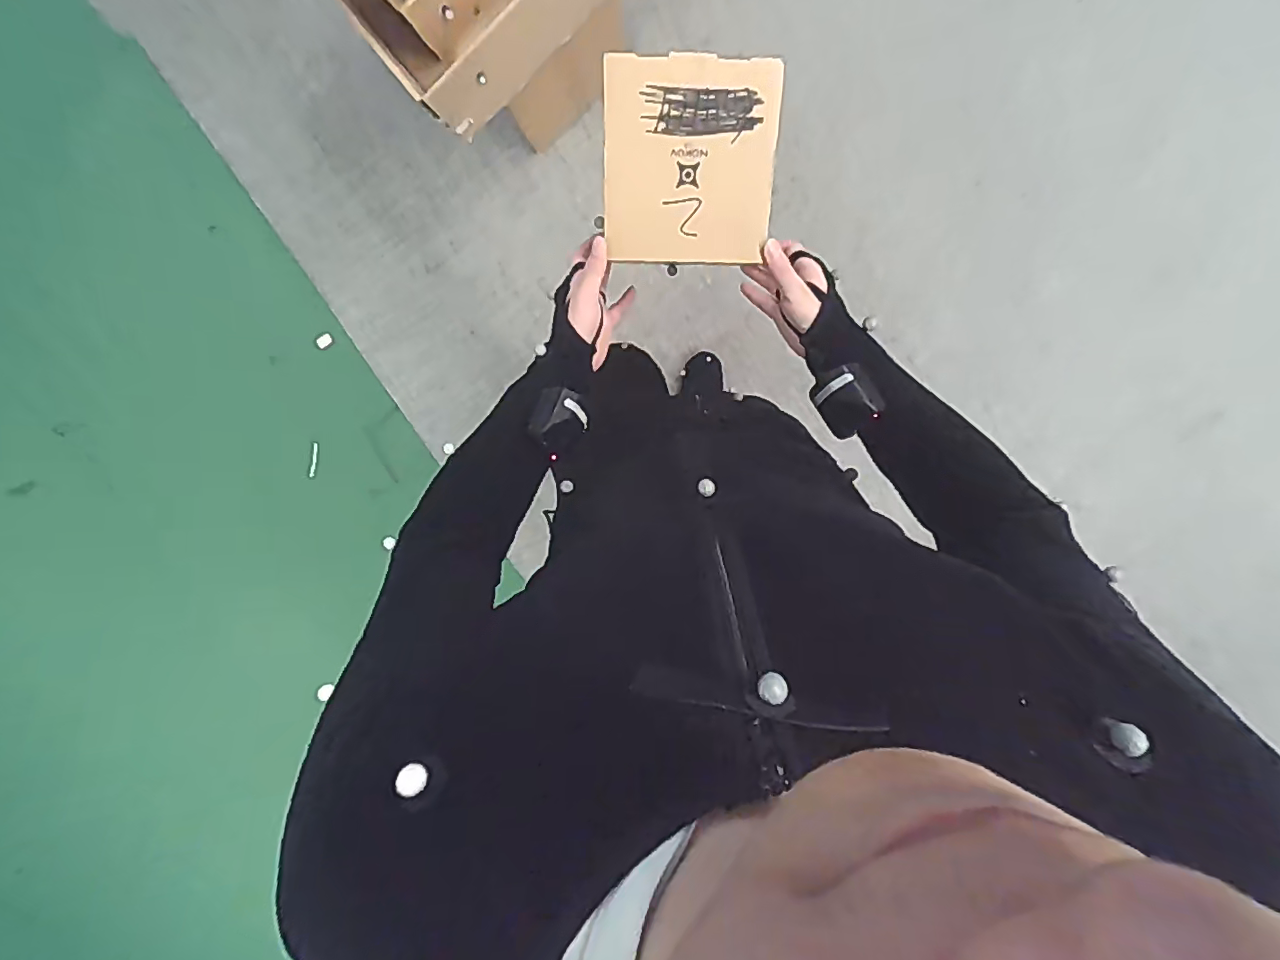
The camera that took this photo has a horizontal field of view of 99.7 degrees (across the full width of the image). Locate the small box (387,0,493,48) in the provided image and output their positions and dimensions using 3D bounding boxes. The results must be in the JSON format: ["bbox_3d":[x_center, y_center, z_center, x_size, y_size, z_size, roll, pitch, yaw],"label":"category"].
[{"bbox_3d":[-0.376,-0.886,0.915,0.168,0.176,0.179,-38,99,12],"label":"small box"}]
